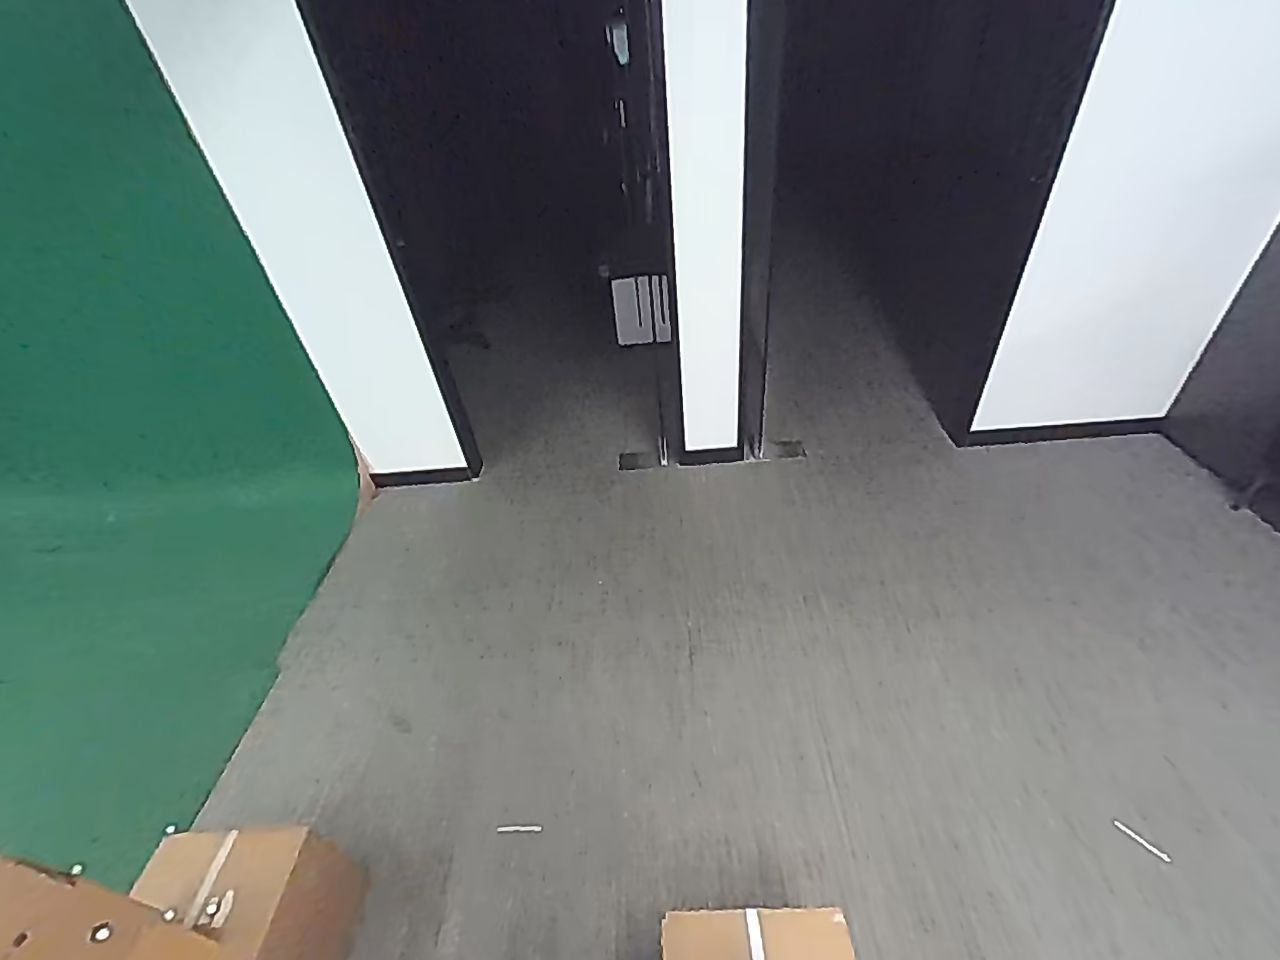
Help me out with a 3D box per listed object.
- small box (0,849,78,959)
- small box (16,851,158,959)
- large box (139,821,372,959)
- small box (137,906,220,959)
[{"bbox_3d":[-0.874,0.546,0.660,0.179,0.176,0.168,4,40,15],"label":"small box"},{"bbox_3d":[-0.847,0.669,0.765,0.168,0.176,0.179,3,41,15],"label":"small box"},{"bbox_3d":[-0.795,0.955,1.051,0.320,0.320,0.408,-5,38,3],"label":"large box"},{"bbox_3d":[-0.825,0.800,0.860,0.168,0.176,0.179,2,40,12],"label":"small box"}]
